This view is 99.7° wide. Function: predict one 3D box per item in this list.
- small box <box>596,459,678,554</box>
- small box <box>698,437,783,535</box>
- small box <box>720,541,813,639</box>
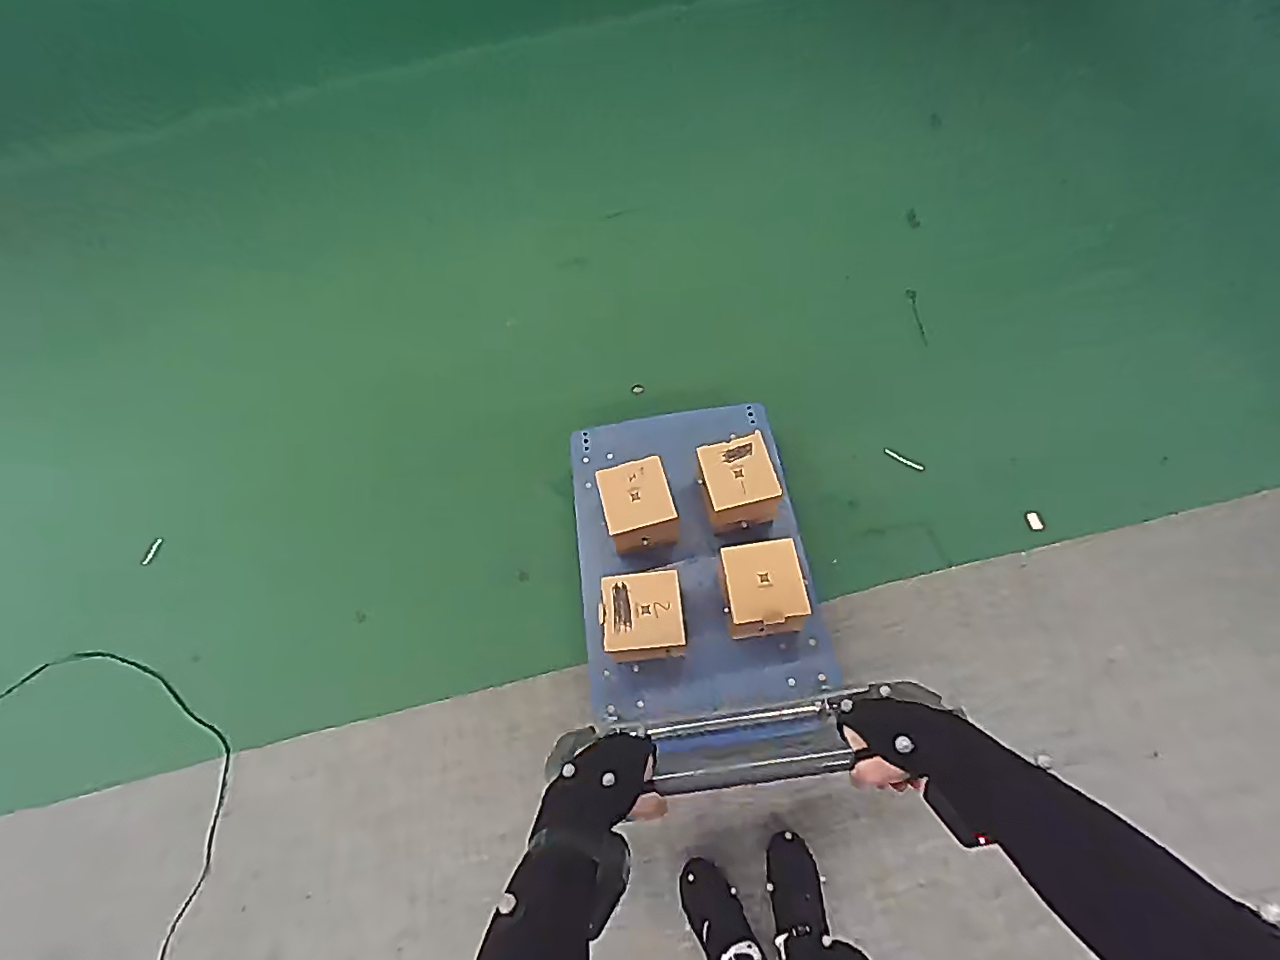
[{"bbox_3d":[-0.003,0.075,1.366,0.168,0.176,0.179,-15,64,-2],"label":"small box"},{"bbox_3d":[0.244,0.019,1.367,0.168,0.176,0.179,-14,65,0],"label":"small box"},{"bbox_3d":[0.282,0.258,1.251,0.168,0.176,0.179,-9,65,2],"label":"small box"}]
